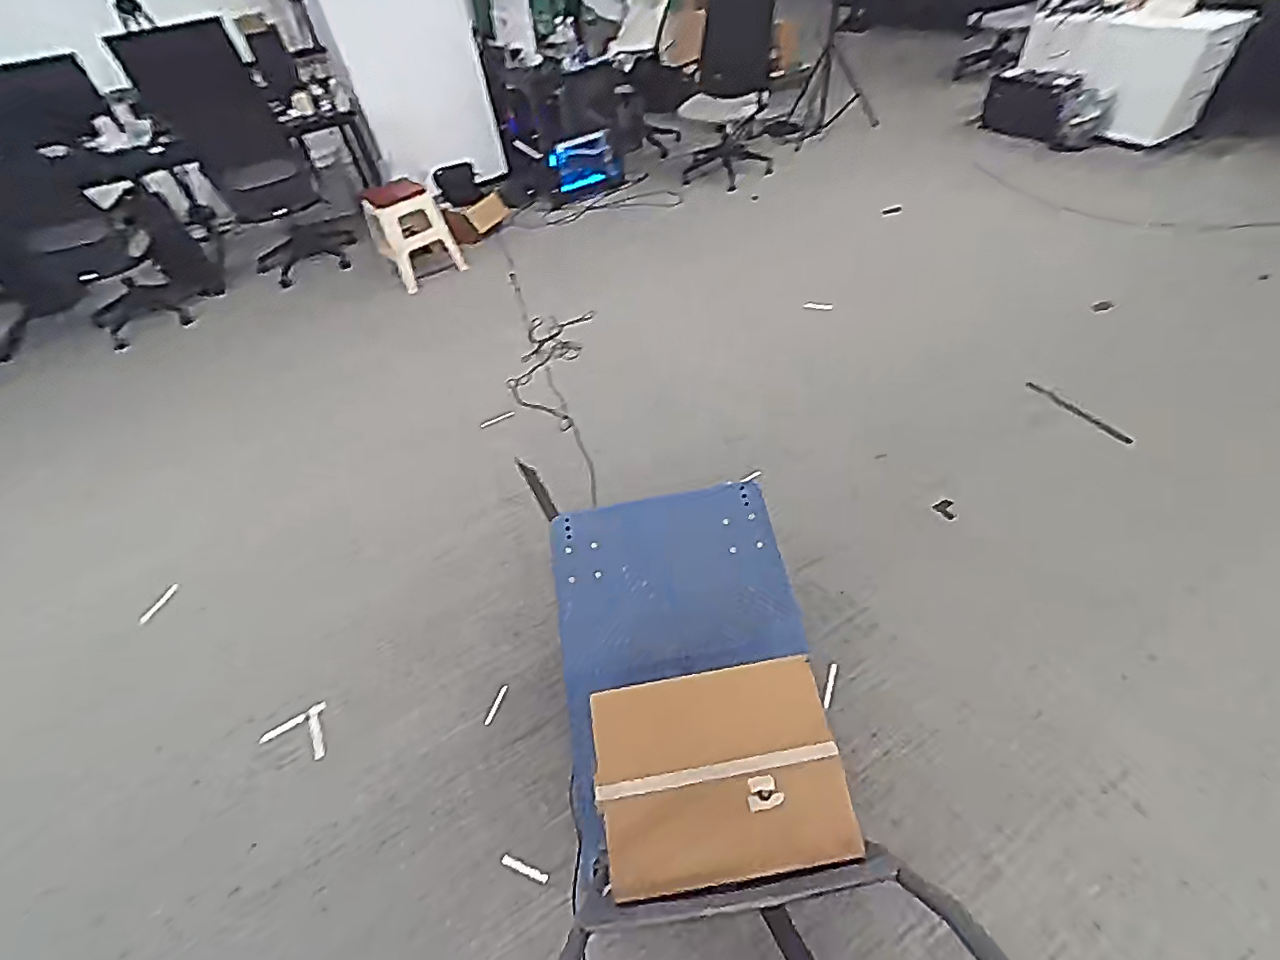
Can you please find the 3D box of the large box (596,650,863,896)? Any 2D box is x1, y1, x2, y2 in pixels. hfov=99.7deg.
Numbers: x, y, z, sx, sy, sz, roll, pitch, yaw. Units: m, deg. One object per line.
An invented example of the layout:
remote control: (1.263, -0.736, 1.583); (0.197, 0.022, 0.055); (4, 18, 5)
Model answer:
large box: (0.148, 0.555, 1.062); (0.408, 0.320, 0.320); (-11, 64, -1)
